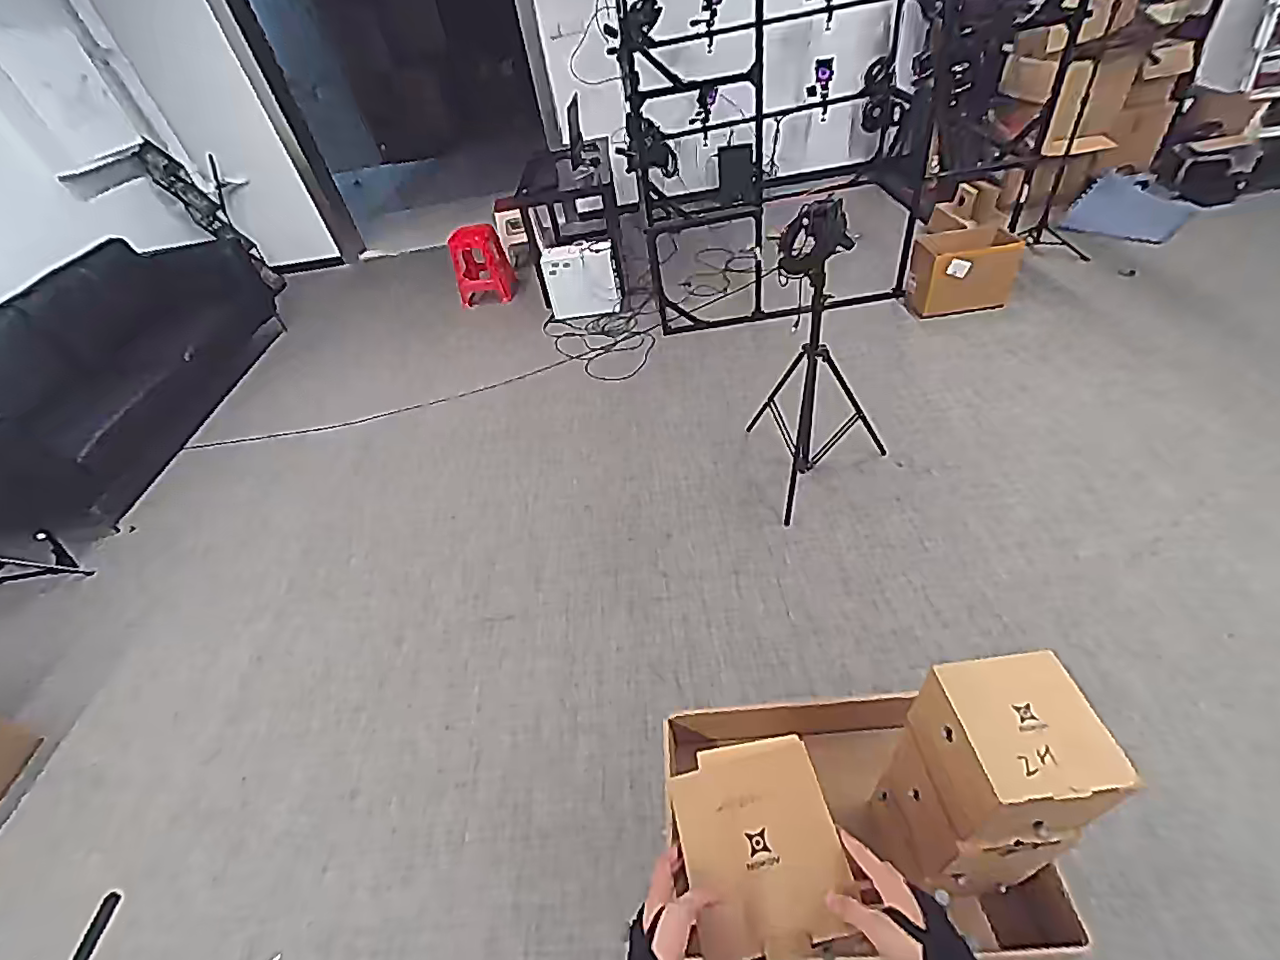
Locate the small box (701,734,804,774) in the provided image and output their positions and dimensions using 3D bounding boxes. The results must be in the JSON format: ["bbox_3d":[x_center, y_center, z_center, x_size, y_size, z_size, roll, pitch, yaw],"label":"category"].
[{"bbox_3d":[0.196,0.536,0.858,0.168,0.176,0.179,-11,45,1],"label":"small box"}]

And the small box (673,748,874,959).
[{"bbox_3d":[0.148,0.439,0.626,0.168,0.176,0.179,-17,49,2],"label":"small box"}]

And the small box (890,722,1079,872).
[{"bbox_3d":[0.514,0.487,0.839,0.168,0.176,0.179,-8,43,2],"label":"small box"}]

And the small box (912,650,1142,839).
[{"bbox_3d":[0.498,0.360,0.735,0.168,0.176,0.179,-9,44,2],"label":"small box"}]
